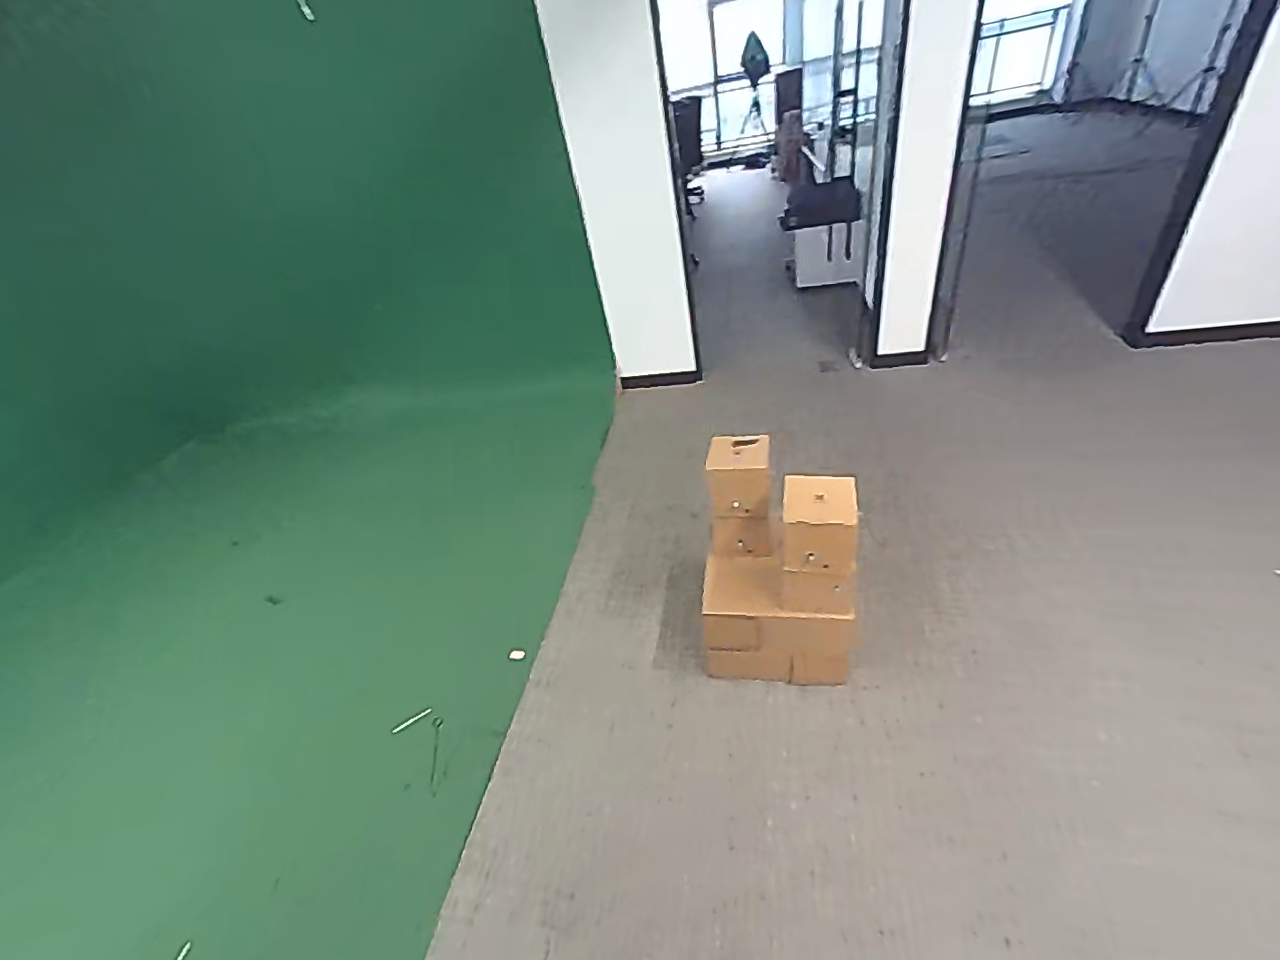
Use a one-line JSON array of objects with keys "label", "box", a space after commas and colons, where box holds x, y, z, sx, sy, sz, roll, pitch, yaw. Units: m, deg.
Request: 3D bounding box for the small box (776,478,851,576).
[{"label": "small box", "box": [0.429, 0.113, 1.351, 0.168, 0.176, 0.179, 1, 38, 16]}]

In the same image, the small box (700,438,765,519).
[{"label": "small box", "box": [0.272, -0.006, 1.562, 0.168, 0.176, 0.179, -1, 35, 16]}]

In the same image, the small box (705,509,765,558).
[{"label": "small box", "box": [0.296, 0.120, 1.667, 0.168, 0.176, 0.179, -2, 35, 14]}]
